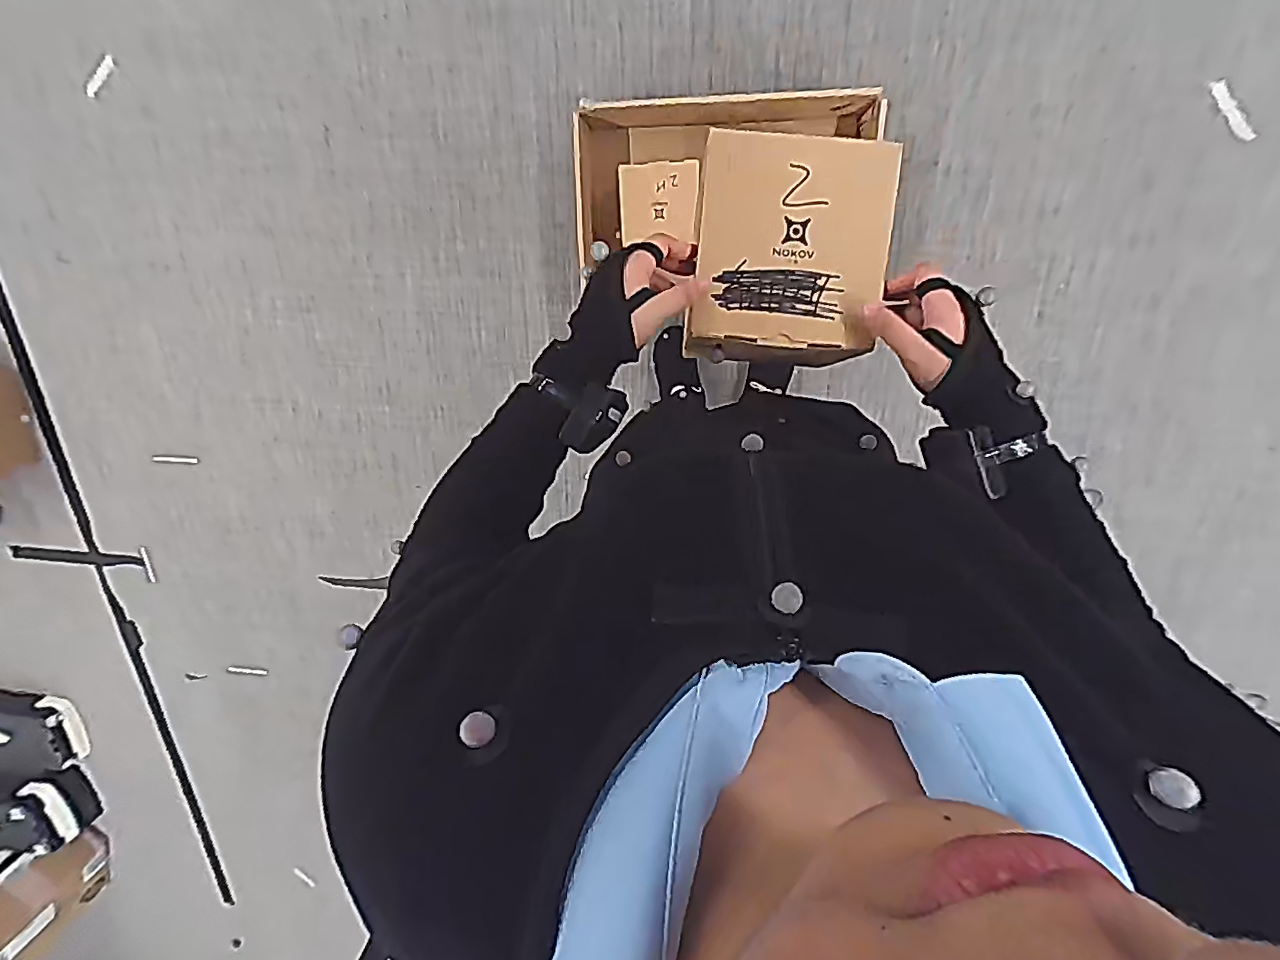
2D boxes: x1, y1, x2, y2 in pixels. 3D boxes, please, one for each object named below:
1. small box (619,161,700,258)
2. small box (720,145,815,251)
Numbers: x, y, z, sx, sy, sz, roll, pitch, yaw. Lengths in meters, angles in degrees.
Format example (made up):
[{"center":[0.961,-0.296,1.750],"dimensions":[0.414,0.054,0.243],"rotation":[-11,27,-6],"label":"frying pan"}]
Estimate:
[{"center":[0.049,-0.587,1.194],"dimensions":[0.168,0.176,0.179],"rotation":[-1,110,5],"label":"small box"},{"center":[0.264,-0.600,1.166],"dimensions":[0.168,0.176,0.179],"rotation":[7,111,5],"label":"small box"}]
